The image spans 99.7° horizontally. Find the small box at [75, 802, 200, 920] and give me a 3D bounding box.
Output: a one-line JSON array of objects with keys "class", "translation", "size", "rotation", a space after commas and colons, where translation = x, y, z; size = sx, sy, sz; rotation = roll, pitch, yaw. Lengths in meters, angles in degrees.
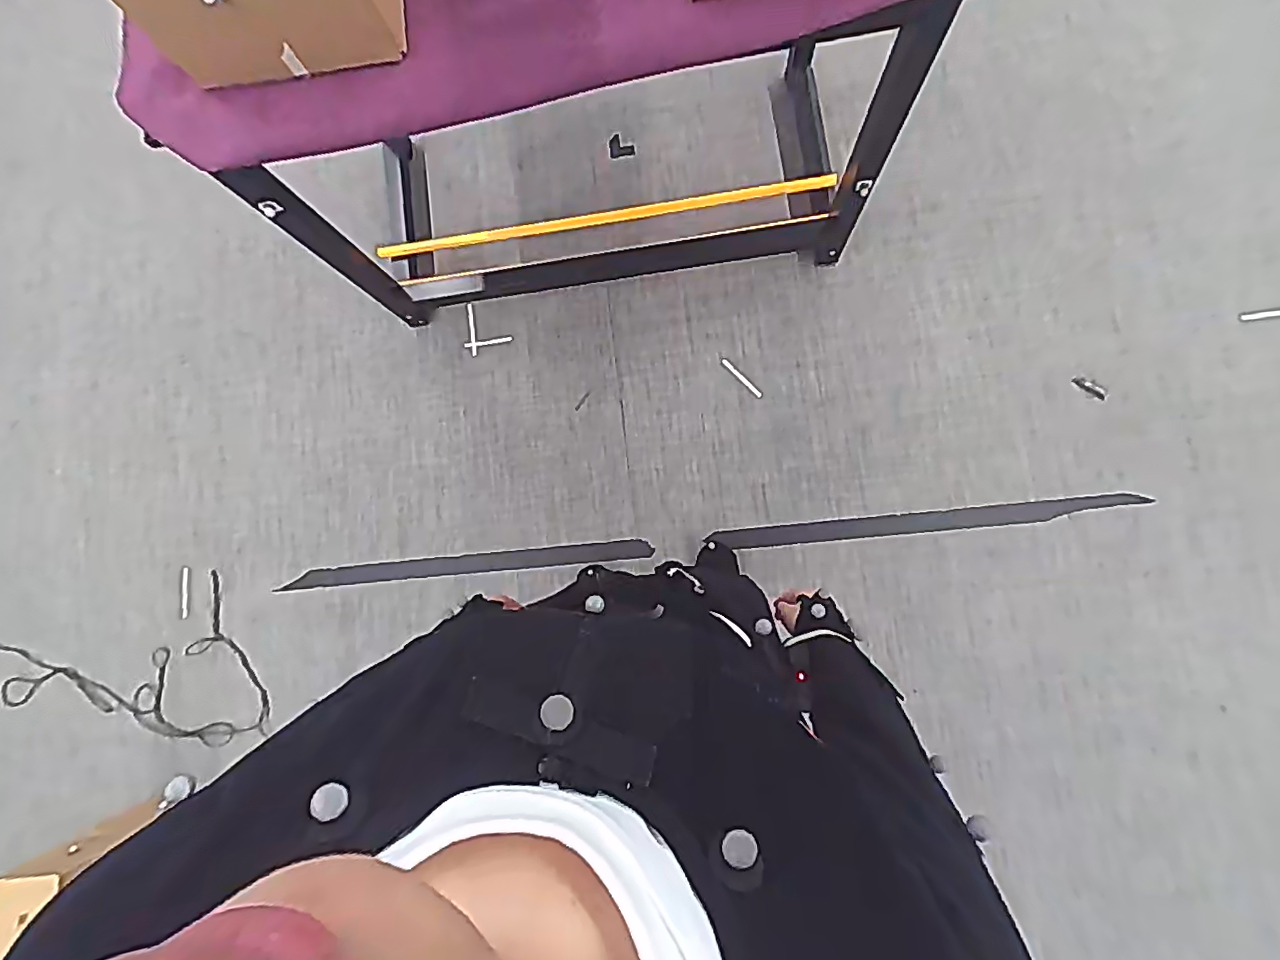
[{"class": "small box", "translation": [-1.224, 0.920, 1.320], "size": [0.168, 0.176, 0.179], "rotation": [-1, 83, 5]}]

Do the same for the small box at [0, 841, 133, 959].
[{"class": "small box", "translation": [-1.238, 0.903, 1.156], "size": [0.168, 0.176, 0.179], "rotation": [-7, 84, 5]}]

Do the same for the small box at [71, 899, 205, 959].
[{"class": "small box", "translation": [-1.199, 1.151, 1.293], "size": [0.179, 0.176, 0.168], "rotation": [-13, 82, 3]}]
